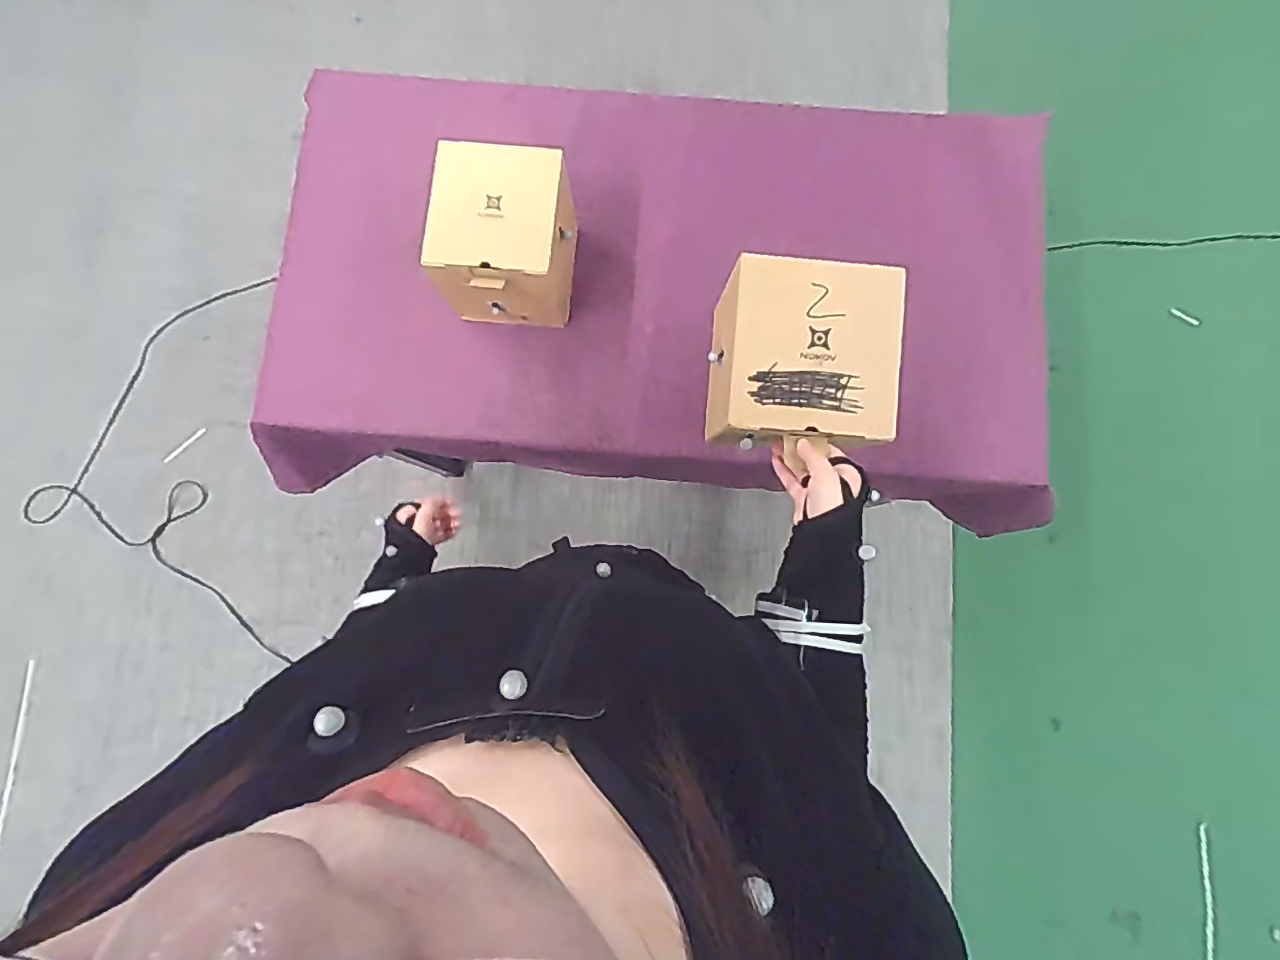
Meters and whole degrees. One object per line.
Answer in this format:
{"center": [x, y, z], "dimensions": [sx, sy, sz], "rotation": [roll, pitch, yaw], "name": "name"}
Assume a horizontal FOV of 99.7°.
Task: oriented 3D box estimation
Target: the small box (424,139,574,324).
{"center": [-0.192, -0.351, 0.789], "dimensions": [0.168, 0.176, 0.179], "rotation": [5, 83, 0], "name": "small box"}
